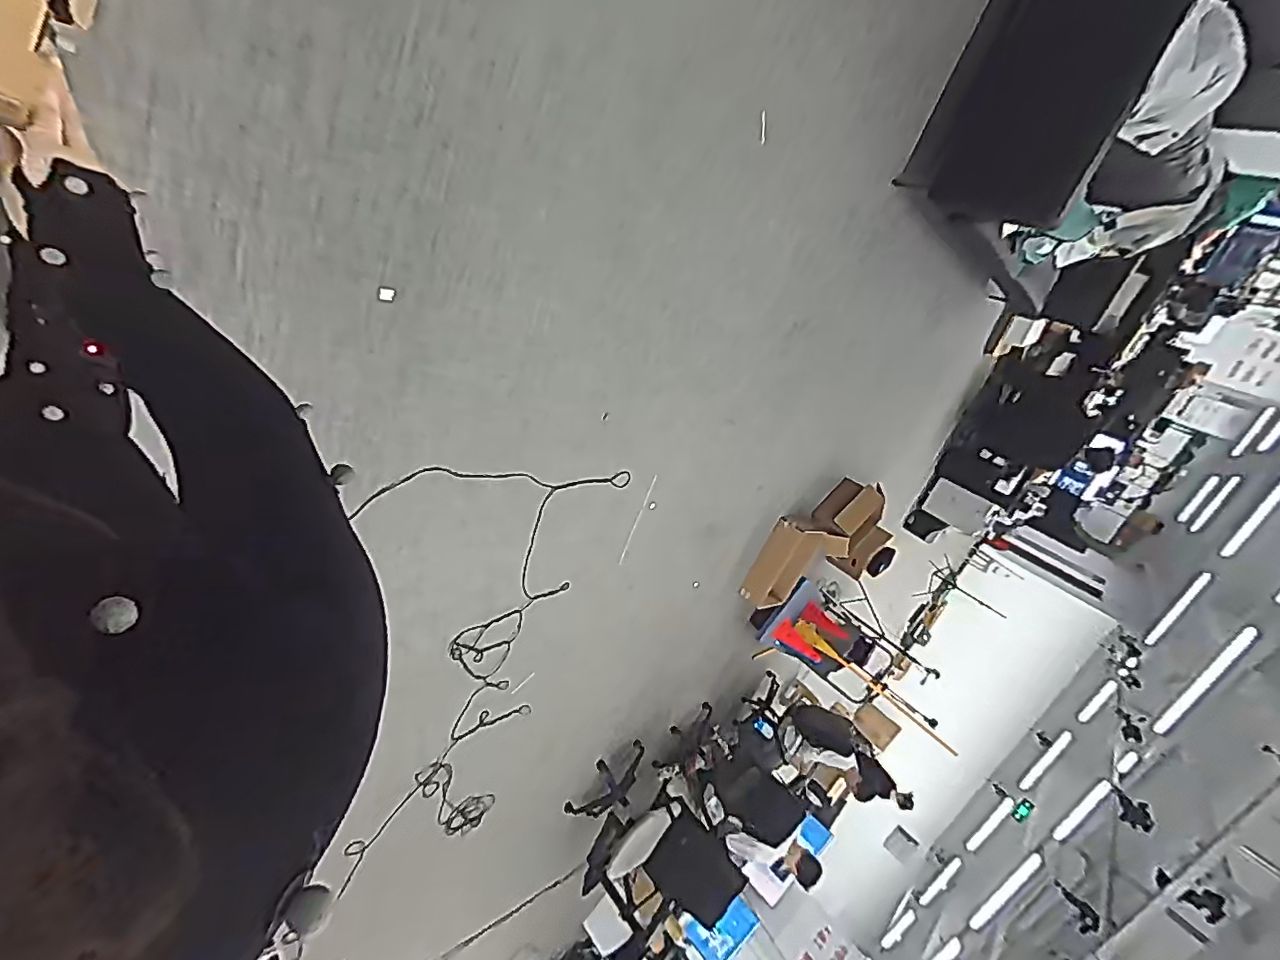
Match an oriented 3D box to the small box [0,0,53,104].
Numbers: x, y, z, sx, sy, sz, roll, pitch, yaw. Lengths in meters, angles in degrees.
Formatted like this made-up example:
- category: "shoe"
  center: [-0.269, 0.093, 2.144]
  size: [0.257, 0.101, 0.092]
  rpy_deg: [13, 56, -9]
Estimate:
- category: "small box"
  center: [-0.461, -0.350, 0.306]
  size: [0.179, 0.176, 0.168]
  rpy_deg: [15, 97, -52]
